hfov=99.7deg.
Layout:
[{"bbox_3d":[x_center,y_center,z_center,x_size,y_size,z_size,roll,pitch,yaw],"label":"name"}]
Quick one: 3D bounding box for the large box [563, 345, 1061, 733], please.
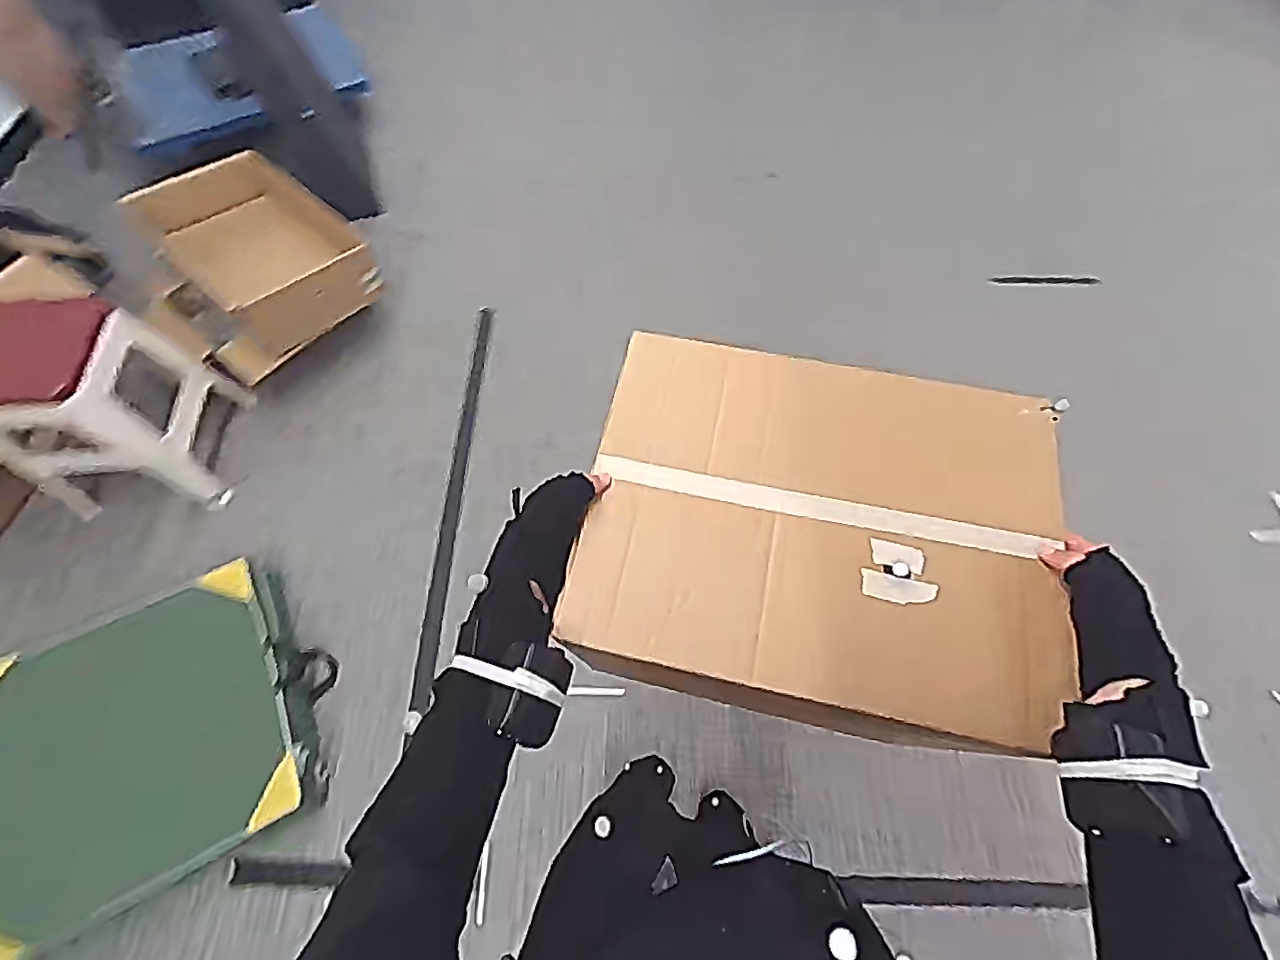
[{"bbox_3d":[0.156,0.085,0.623,0.408,0.320,0.320,10,68,5],"label":"large box"}]
